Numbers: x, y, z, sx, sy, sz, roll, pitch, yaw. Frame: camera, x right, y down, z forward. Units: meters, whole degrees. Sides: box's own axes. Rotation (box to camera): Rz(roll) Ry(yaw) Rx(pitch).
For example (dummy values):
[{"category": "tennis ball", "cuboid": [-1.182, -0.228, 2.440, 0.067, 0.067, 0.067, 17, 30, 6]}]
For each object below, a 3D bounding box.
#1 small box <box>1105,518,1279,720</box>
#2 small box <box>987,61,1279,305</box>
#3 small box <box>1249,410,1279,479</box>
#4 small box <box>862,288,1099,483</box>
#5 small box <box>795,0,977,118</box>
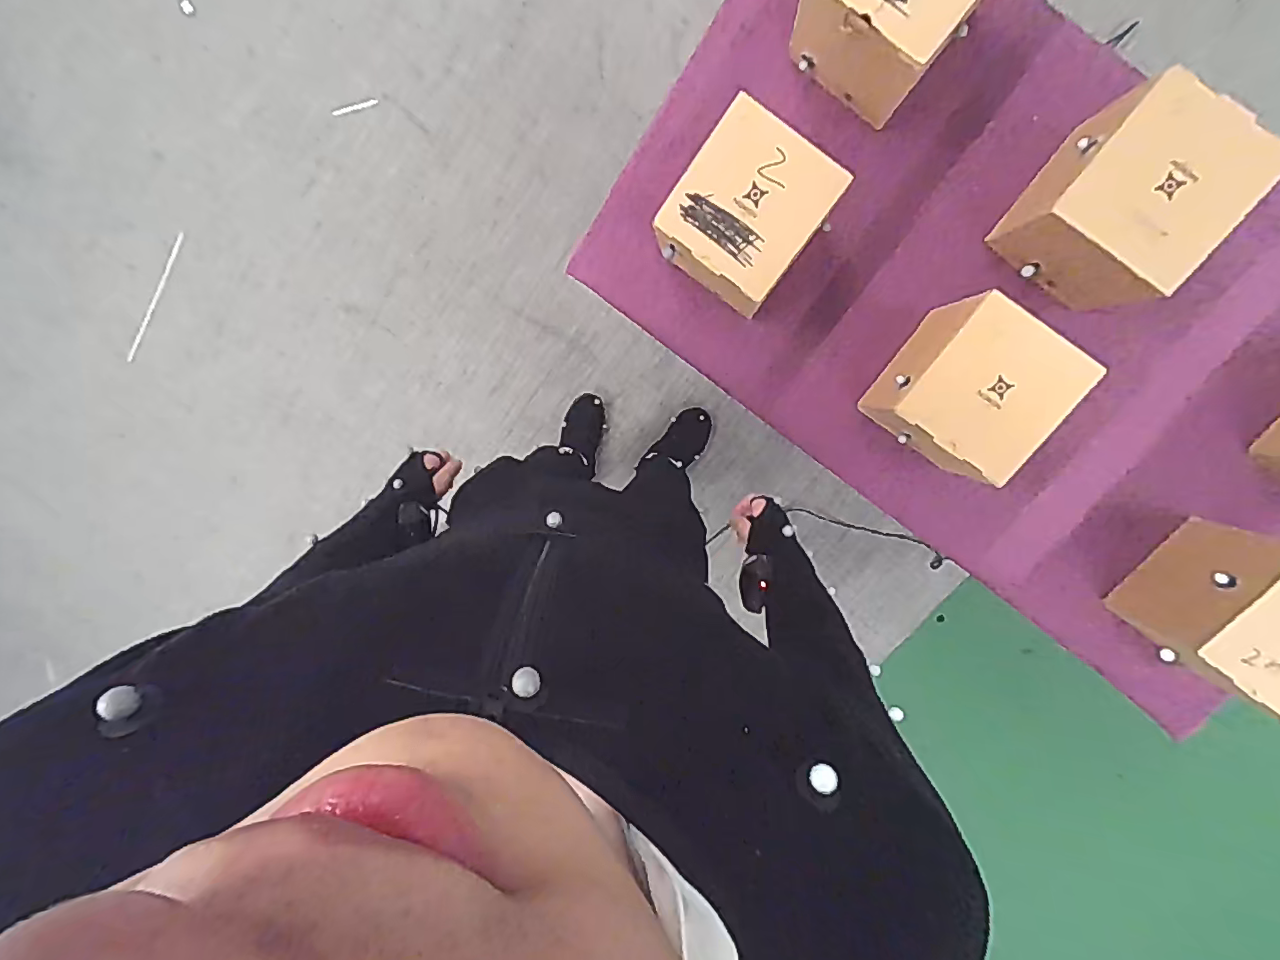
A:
[{"category": "small box", "cuboid": [0.802, 0.175, 0.729, 0.168, 0.176, 0.179, 38, 103, 1]}, {"category": "small box", "cuboid": [0.579, -0.340, 0.661, 0.168, 0.176, 0.179, 37, 104, 0]}, {"category": "small box", "cuboid": [0.952, -0.051, 0.668, 0.168, 0.176, 0.179, 36, 103, 0]}, {"category": "small box", "cuboid": [0.431, -0.125, 0.723, 0.168, 0.176, 0.179, 35, 103, -1]}, {"category": "small box", "cuboid": [0.304, -0.584, 0.643, 0.168, 0.176, 0.179, 38, 104, -2]}]
